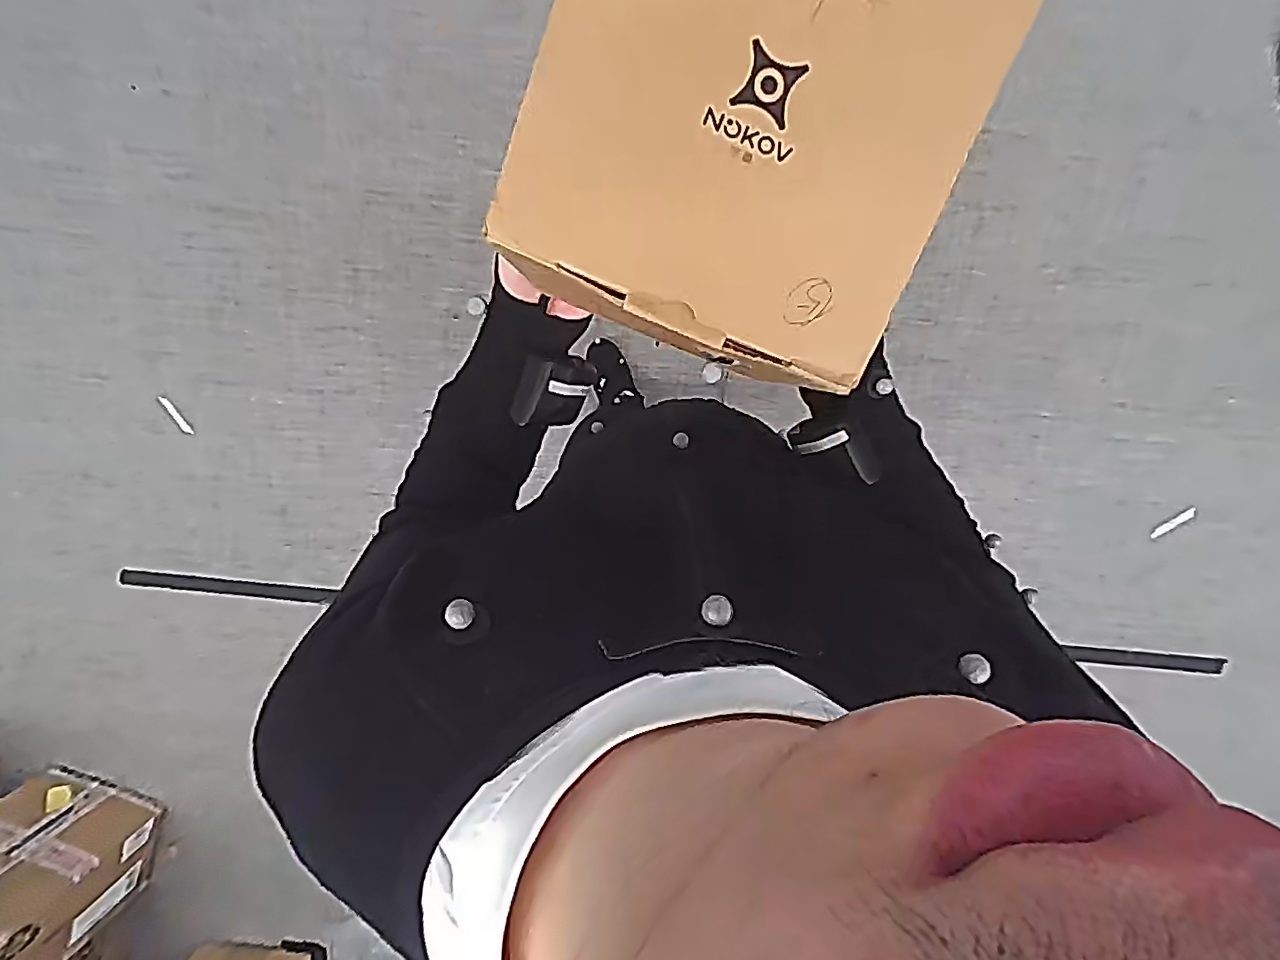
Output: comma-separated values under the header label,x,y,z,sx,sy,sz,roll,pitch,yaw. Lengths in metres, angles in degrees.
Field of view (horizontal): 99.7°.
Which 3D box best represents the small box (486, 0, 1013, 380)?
label,x,y,z,sx,sy,sz,roll,pitch,yaw
small box,0.038,-0.167,0.291,0.168,0.176,0.179,20,100,-8
